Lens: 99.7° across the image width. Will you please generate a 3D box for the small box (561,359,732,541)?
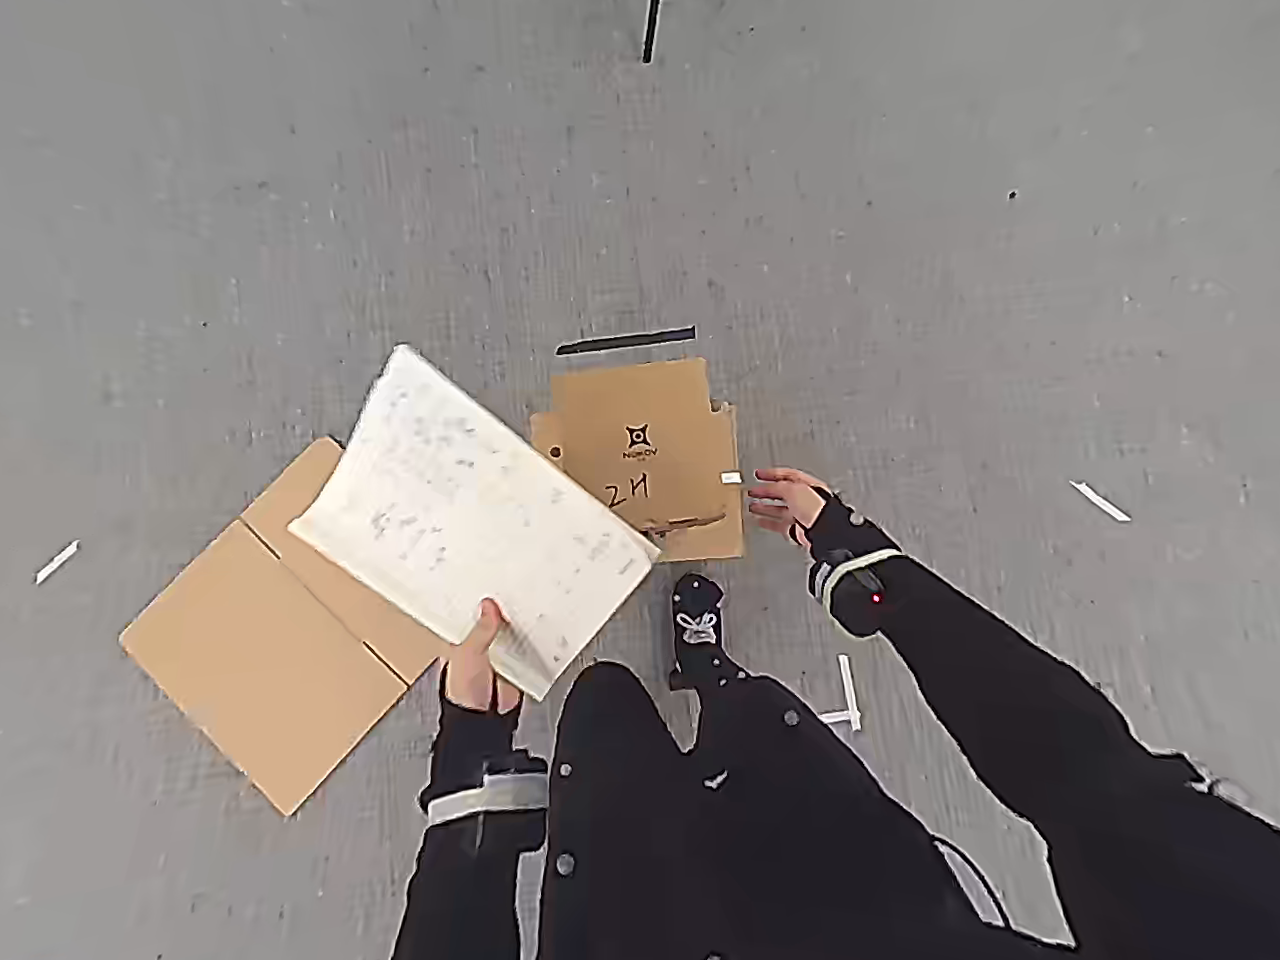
[{"bbox_3d":[0.004,-0.024,0.637,0.168,0.176,0.179,-6,83,0],"label":"small box"}]
